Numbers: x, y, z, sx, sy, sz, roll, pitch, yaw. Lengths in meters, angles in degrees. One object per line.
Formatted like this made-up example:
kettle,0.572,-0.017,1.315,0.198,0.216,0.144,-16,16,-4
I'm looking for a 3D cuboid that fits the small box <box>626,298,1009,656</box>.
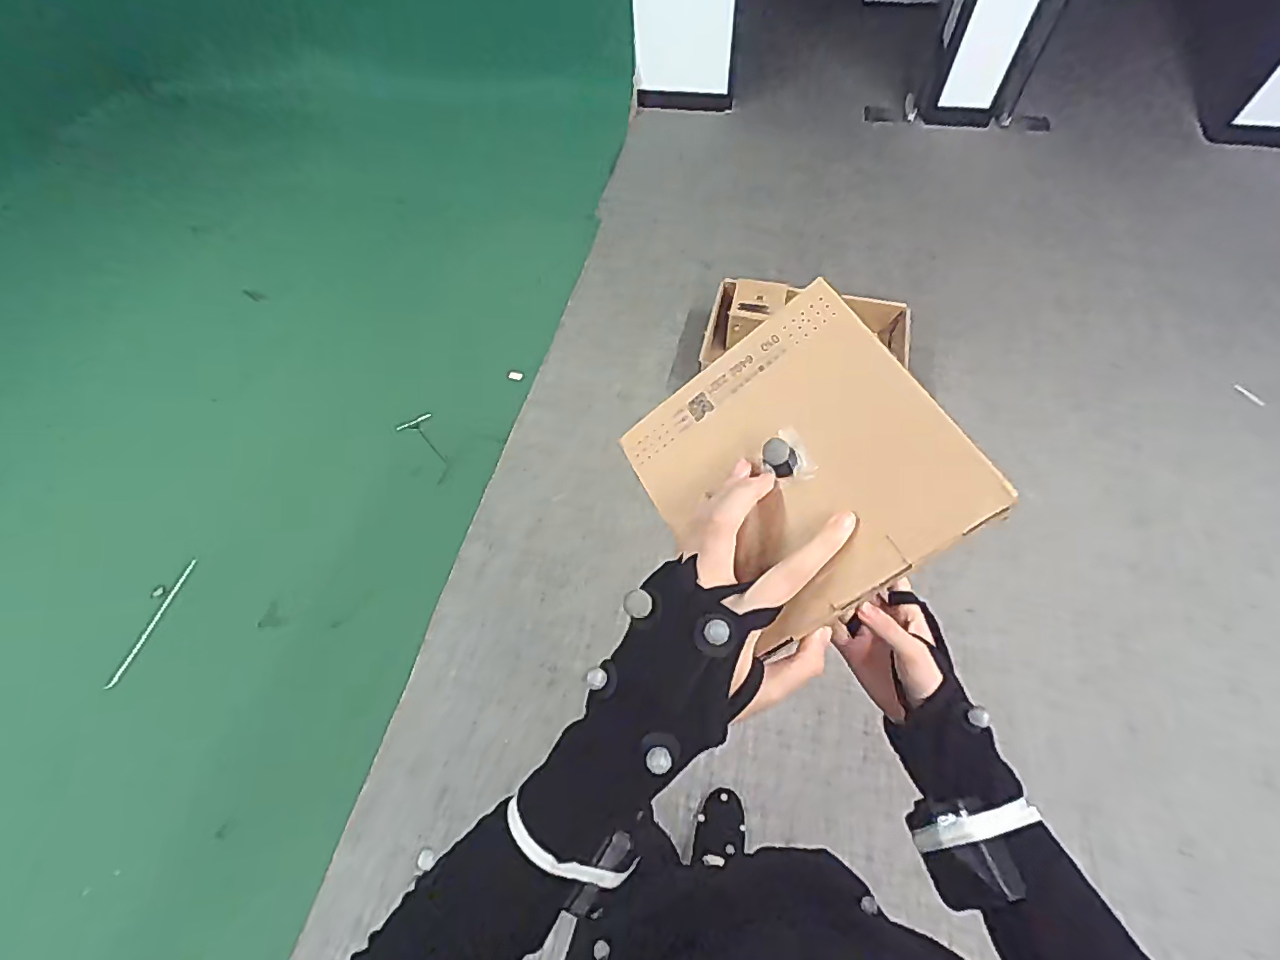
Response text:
small box,0.117,0.002,0.386,0.168,0.179,0.176,-36,66,17
